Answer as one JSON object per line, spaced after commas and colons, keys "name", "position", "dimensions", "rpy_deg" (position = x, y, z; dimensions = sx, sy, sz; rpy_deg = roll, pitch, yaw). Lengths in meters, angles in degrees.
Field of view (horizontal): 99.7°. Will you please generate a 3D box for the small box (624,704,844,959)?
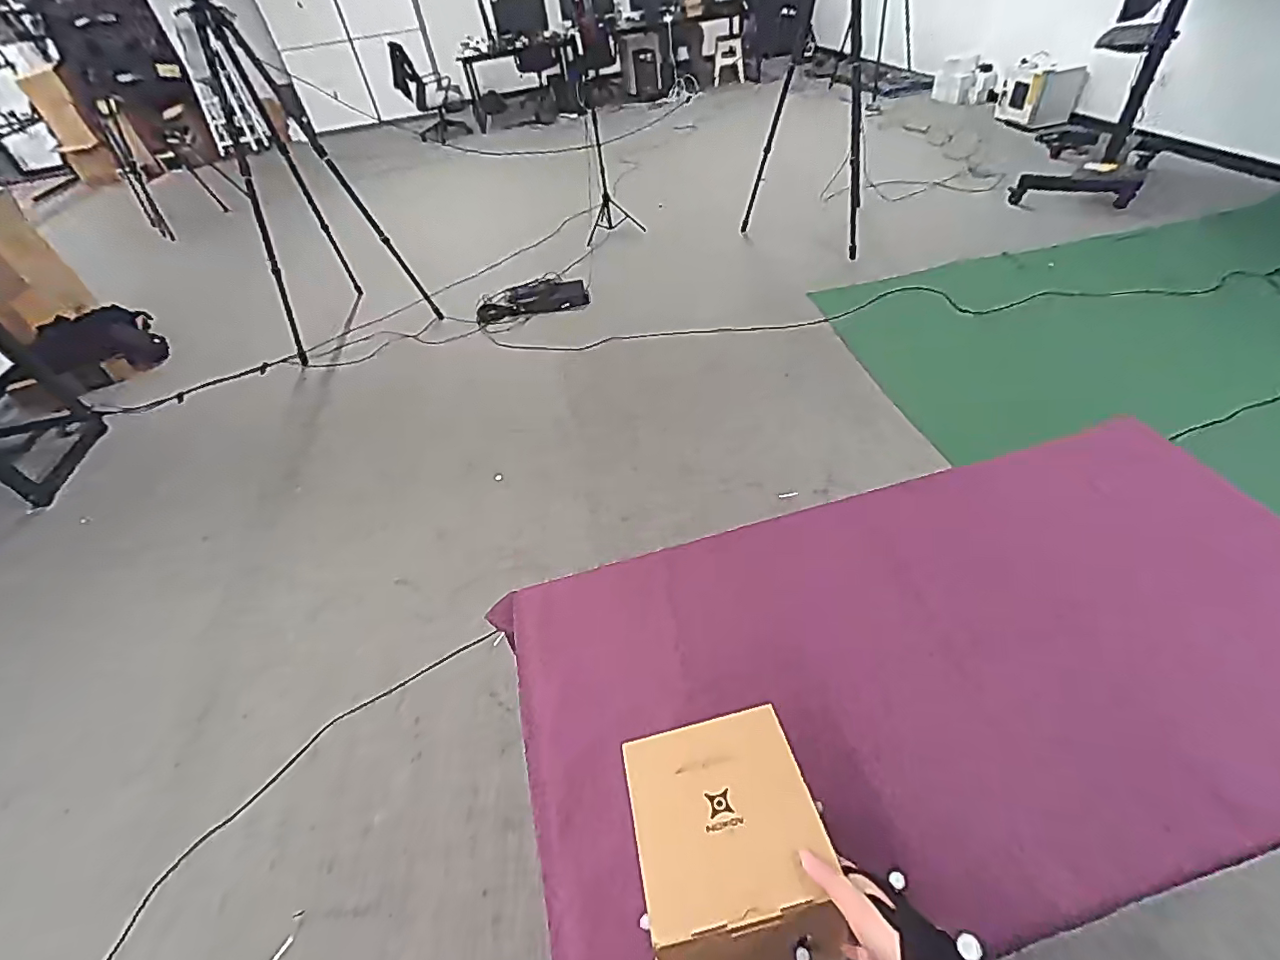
{"name": "small box", "position": [0.089, 0.368, 0.546], "dimensions": [0.168, 0.176, 0.179], "rpy_deg": [-13, 33, -3]}
